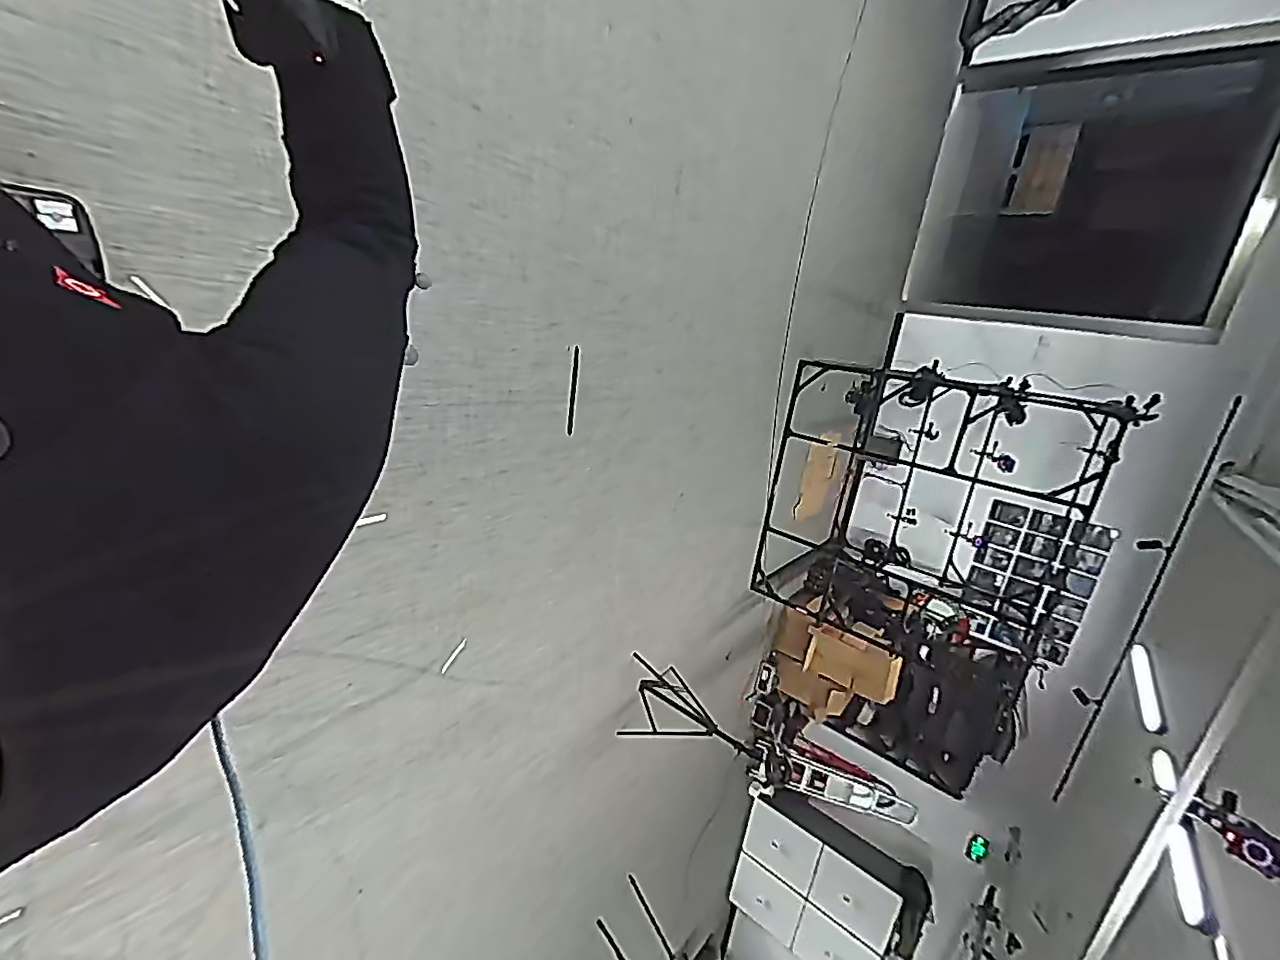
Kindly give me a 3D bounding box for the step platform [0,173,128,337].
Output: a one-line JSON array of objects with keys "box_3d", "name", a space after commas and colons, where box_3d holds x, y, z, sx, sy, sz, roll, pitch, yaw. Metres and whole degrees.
[{"box_3d": [-1.295, -0.388, 0.869, 0.684, 0.204, 0.286, -17, 120, -51], "name": "step platform"}]
